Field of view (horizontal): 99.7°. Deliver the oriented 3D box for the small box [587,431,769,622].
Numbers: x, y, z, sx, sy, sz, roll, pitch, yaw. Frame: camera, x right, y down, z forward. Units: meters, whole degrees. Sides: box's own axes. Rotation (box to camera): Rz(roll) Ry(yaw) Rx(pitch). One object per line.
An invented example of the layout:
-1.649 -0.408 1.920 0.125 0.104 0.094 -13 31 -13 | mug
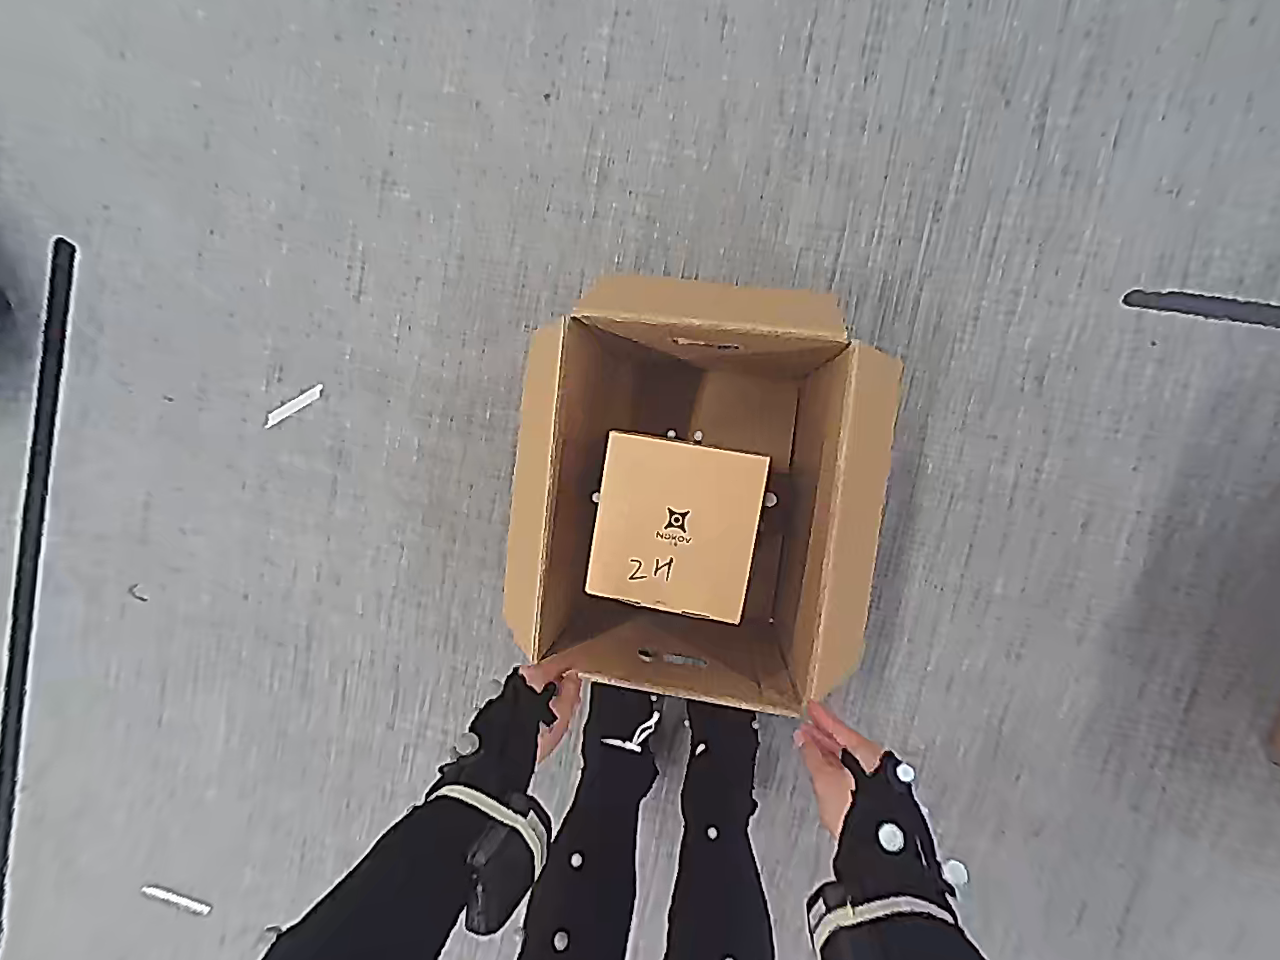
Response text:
0.047 0.043 0.637 0.168 0.176 0.179 10 95 8 | small box
